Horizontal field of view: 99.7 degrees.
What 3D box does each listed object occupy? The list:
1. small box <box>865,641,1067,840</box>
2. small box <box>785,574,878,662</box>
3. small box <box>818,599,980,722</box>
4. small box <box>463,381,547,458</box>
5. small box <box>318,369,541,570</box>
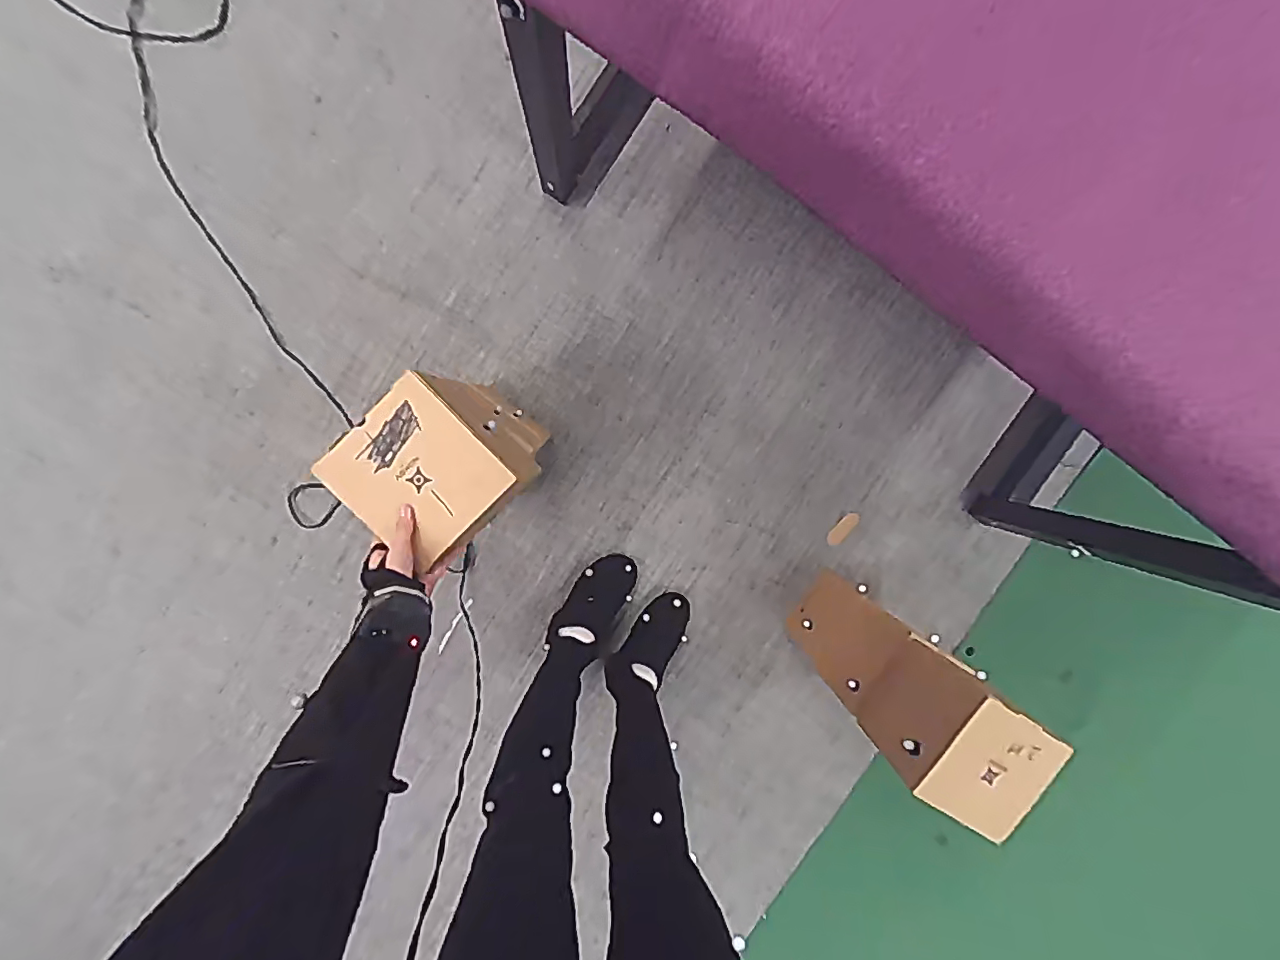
[{"bbox_3d":[0.477,0.386,0.827,0.168,0.176,0.179,33,95,-9],"label":"small box"},{"bbox_3d":[0.440,0.320,1.145,0.179,0.176,0.168,35,94,-9],"label":"small box"},{"bbox_3d":[0.457,0.347,0.987,0.168,0.176,0.179,32,95,-9],"label":"small box"},{"bbox_3d":[-0.292,-0.067,1.029,0.168,0.176,0.179,37,94,-9],"label":"small box"},{"bbox_3d":[-0.252,-0.015,0.695,0.168,0.176,0.179,-43,93,3],"label":"small box"}]
